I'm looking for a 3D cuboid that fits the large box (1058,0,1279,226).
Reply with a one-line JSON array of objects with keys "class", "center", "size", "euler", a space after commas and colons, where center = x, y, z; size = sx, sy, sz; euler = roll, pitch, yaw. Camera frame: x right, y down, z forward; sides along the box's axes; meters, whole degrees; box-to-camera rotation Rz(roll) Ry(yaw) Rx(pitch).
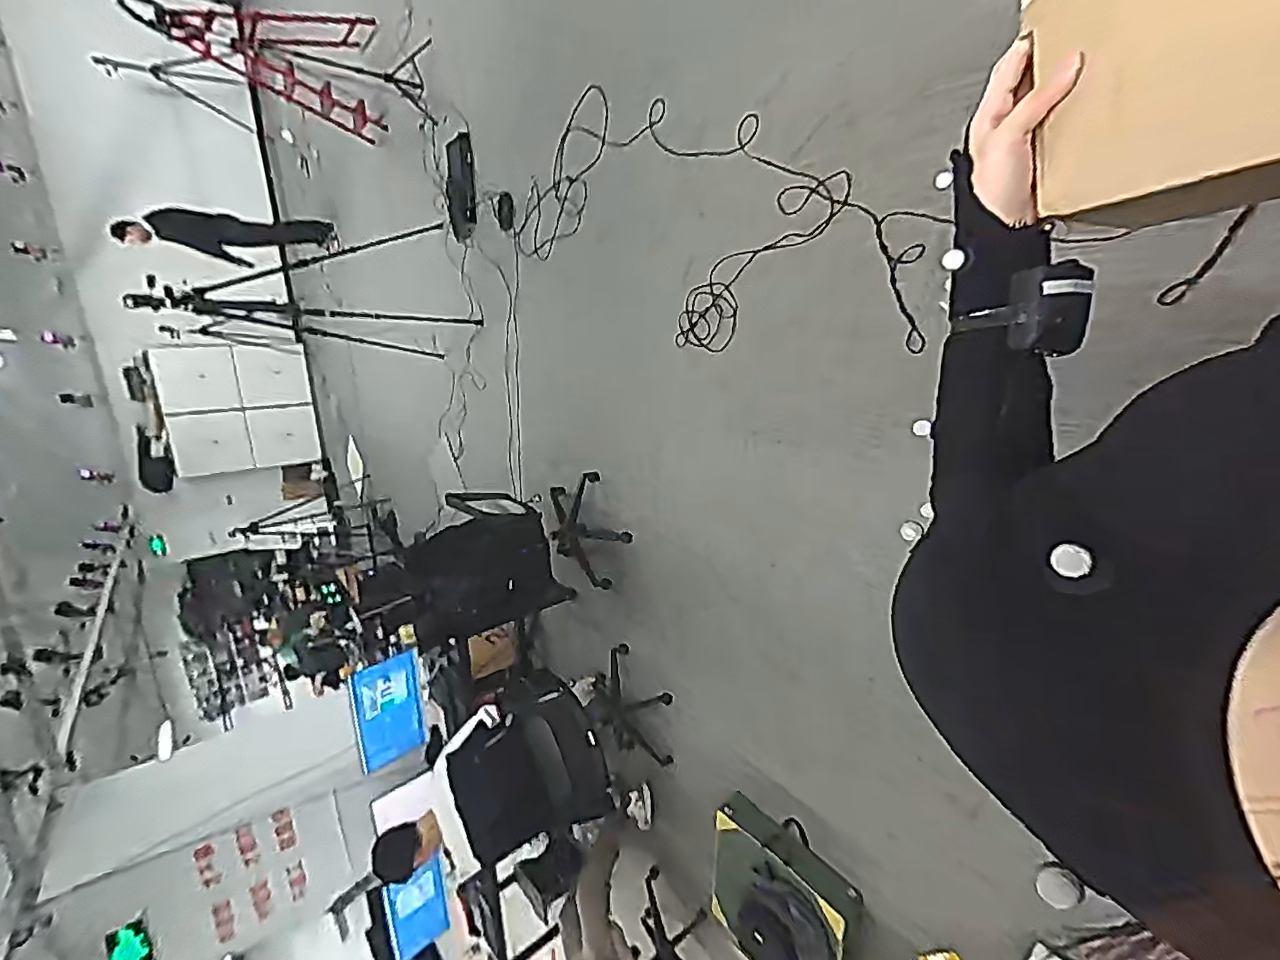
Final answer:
[{"class": "large box", "center": [0.524, -0.376, 0.313], "size": [0.408, 0.320, 0.320], "euler": [4, 108, 50]}]
